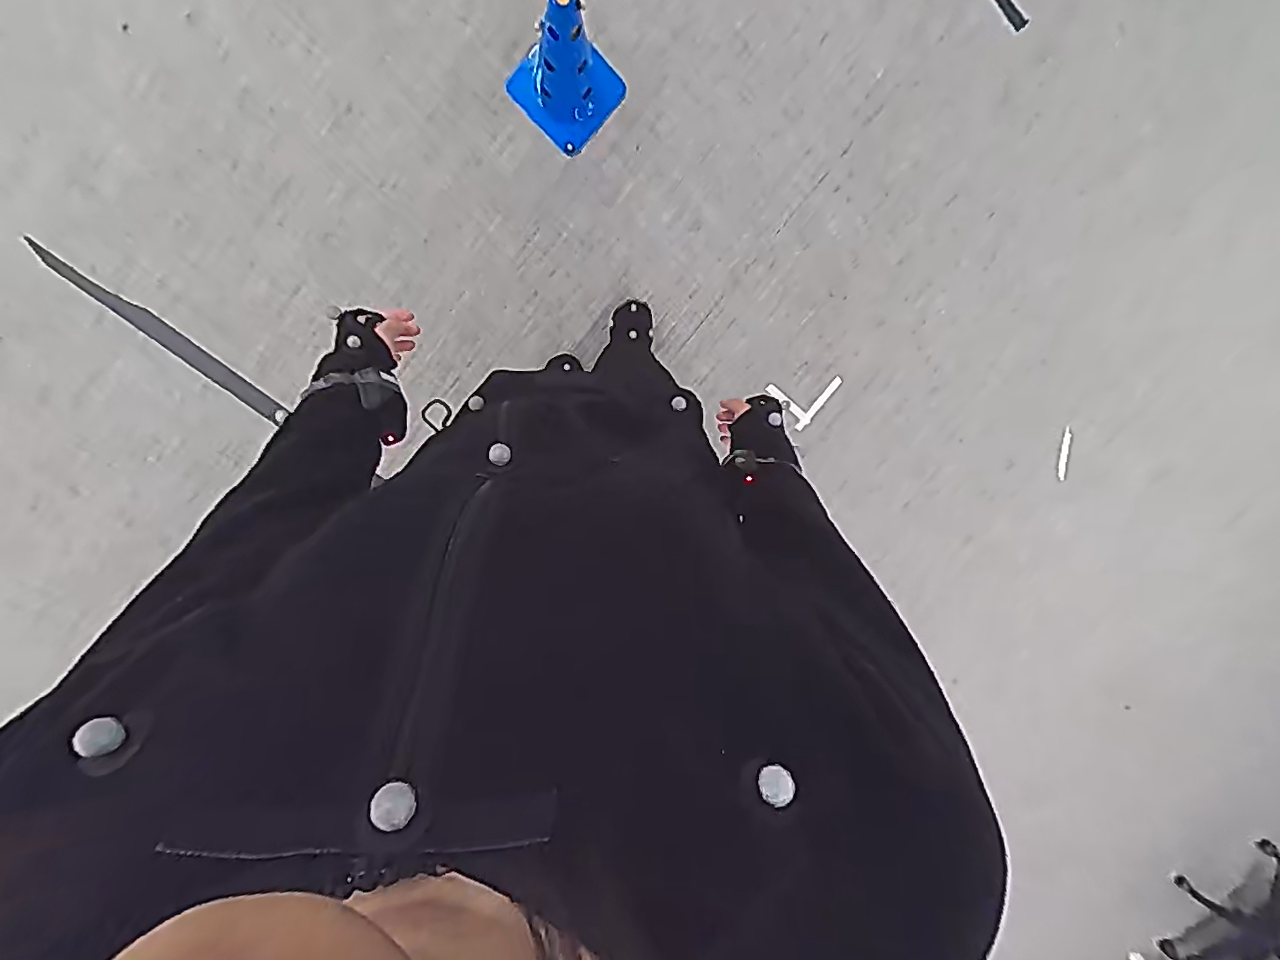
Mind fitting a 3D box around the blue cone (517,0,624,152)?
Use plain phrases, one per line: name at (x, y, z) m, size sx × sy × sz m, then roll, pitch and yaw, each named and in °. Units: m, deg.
blue cone at (-0.131, -0.809, 1.023) m, size 0.193 × 0.380 × 0.192 m, roll -45°, pitch 107°, yaw 7°
